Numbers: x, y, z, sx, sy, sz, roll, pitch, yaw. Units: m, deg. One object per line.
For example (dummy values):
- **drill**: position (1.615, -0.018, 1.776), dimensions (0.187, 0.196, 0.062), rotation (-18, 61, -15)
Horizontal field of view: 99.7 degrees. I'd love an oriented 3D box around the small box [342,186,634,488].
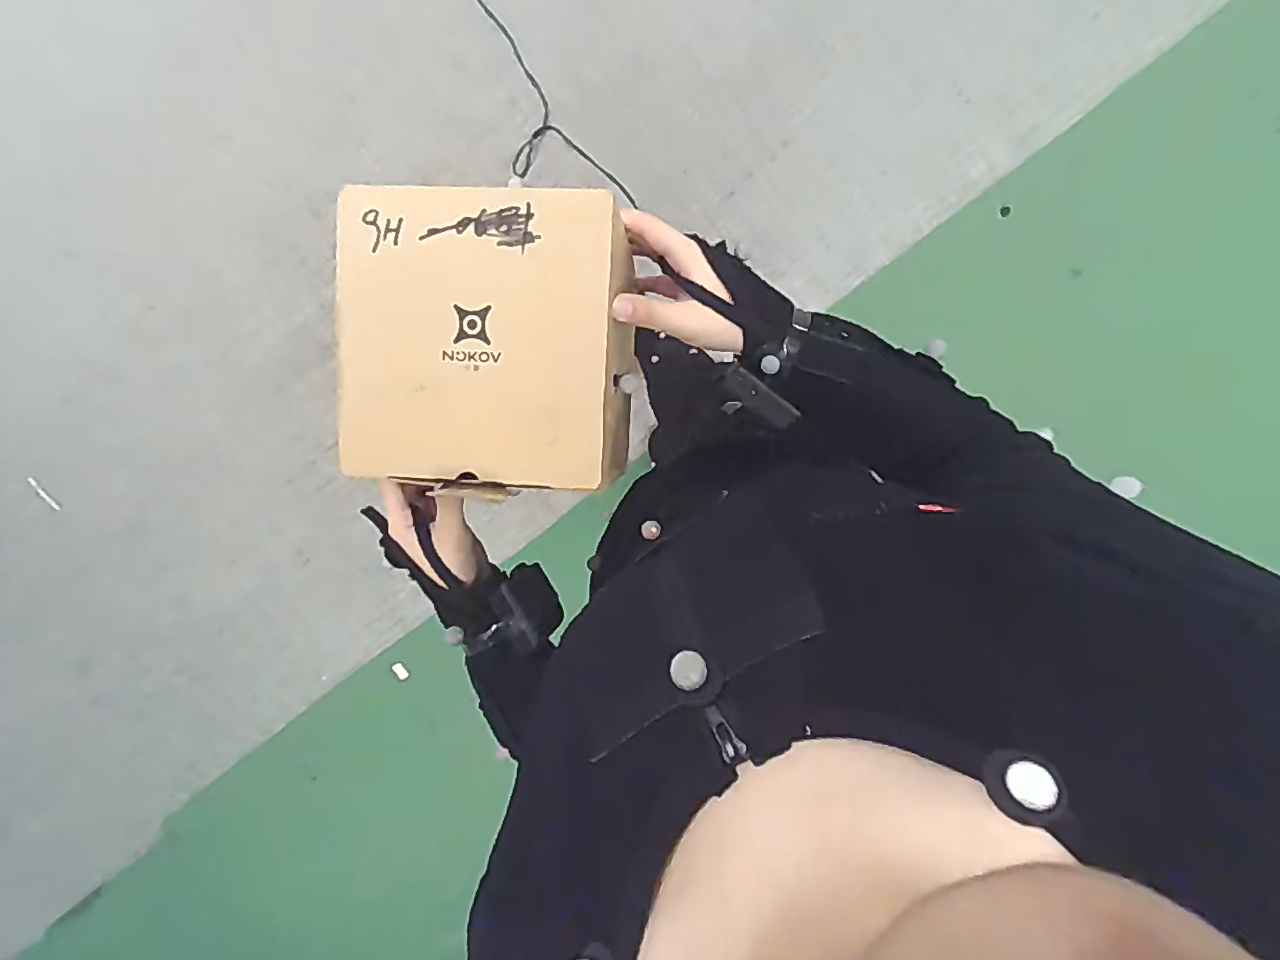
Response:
- **small box**: position (-0.095, -0.096, 0.408), dimensions (0.168, 0.176, 0.179), rotation (3, 97, 4)
